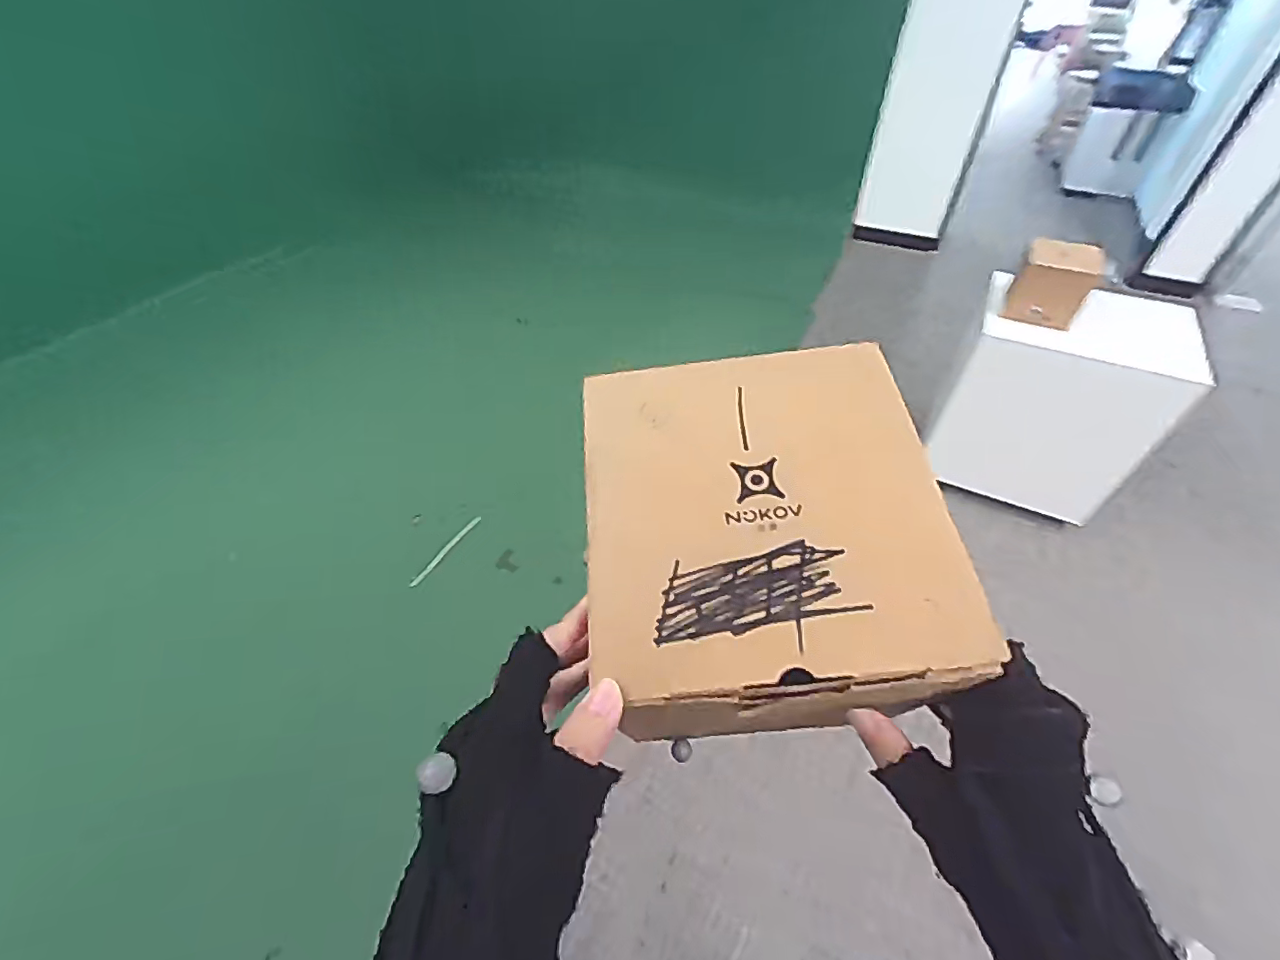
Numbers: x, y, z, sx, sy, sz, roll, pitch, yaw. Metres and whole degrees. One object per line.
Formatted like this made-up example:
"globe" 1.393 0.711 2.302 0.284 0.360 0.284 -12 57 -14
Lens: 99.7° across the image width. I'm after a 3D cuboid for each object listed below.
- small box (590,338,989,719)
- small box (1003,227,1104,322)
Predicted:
"small box" 0.066 0.044 0.332 0.168 0.176 0.179 -6 59 4
"small box" 1.121 -0.562 1.478 0.168 0.176 0.179 18 53 19
